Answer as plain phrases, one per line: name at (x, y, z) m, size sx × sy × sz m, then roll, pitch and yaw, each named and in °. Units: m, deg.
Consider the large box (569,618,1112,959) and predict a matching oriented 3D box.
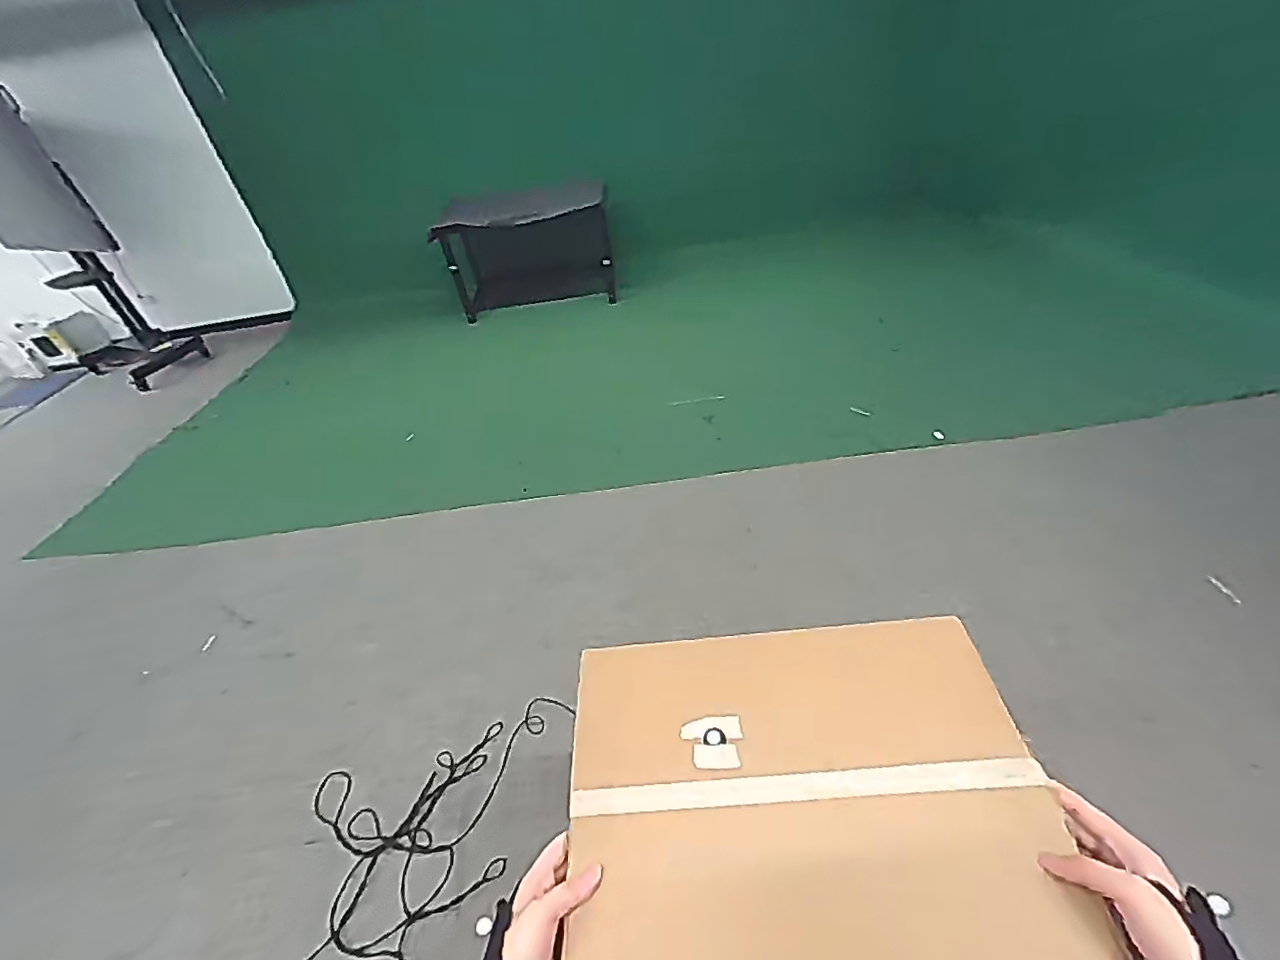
large box at (0.163, 0.386, 0.589) m, size 0.408 × 0.320 × 0.320 m, roll -9°, pitch 43°, yaw 7°
